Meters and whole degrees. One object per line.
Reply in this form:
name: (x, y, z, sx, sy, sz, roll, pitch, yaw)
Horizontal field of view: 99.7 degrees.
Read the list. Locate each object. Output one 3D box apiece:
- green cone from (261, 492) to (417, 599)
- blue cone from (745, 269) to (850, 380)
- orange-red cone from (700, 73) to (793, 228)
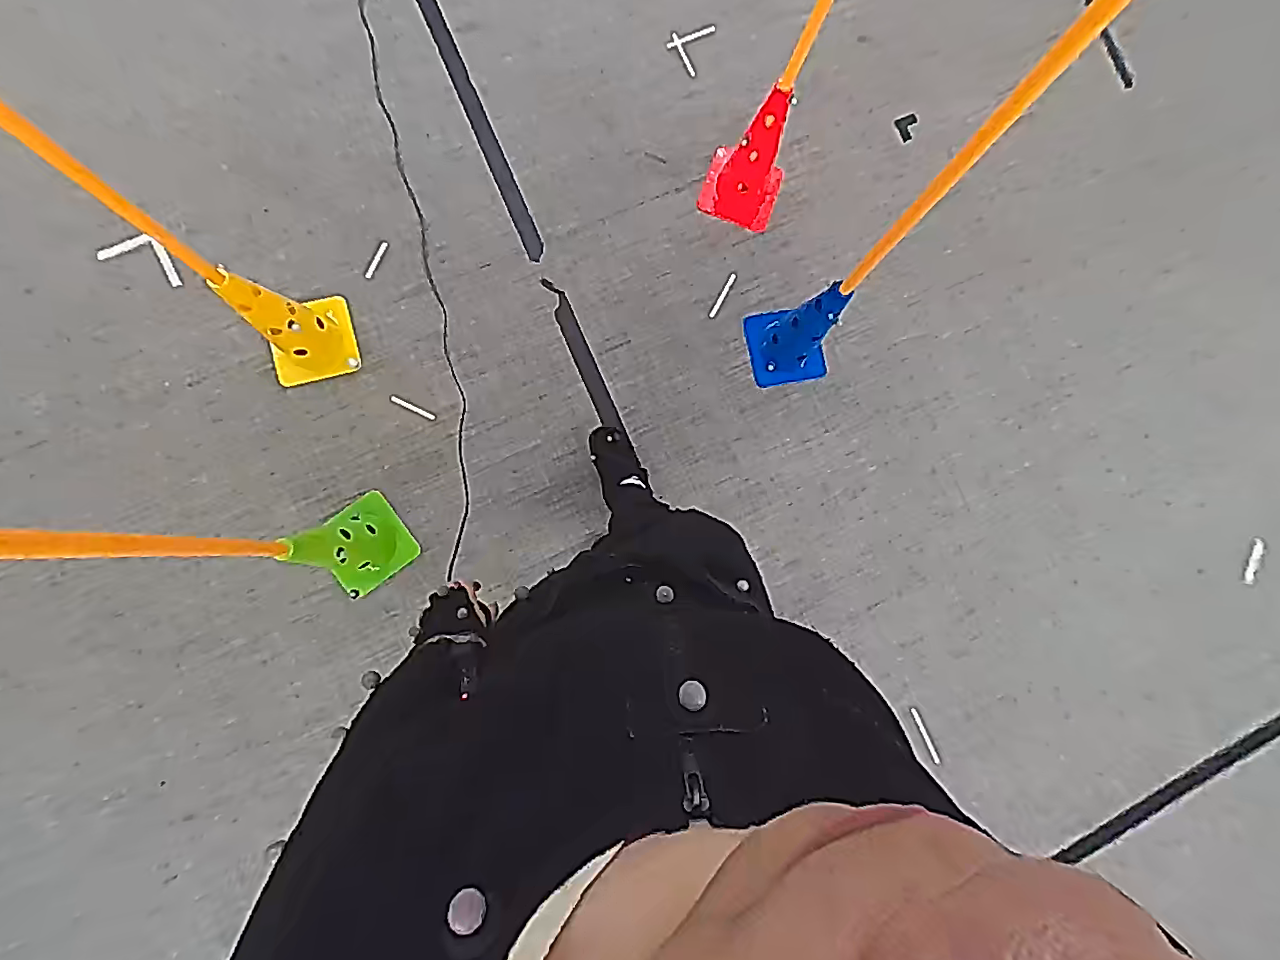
green cone: (-0.653, 0.137, 1.125, 0.200, 0.368, 0.202, -38, 87, -7)
blue cone: (0.398, -0.382, 1.277, 0.193, 0.380, 0.192, -9, 84, -5)
orange-red cone: (0.290, -0.812, 1.295, 0.198, 0.360, 0.199, 21, 85, -2)
